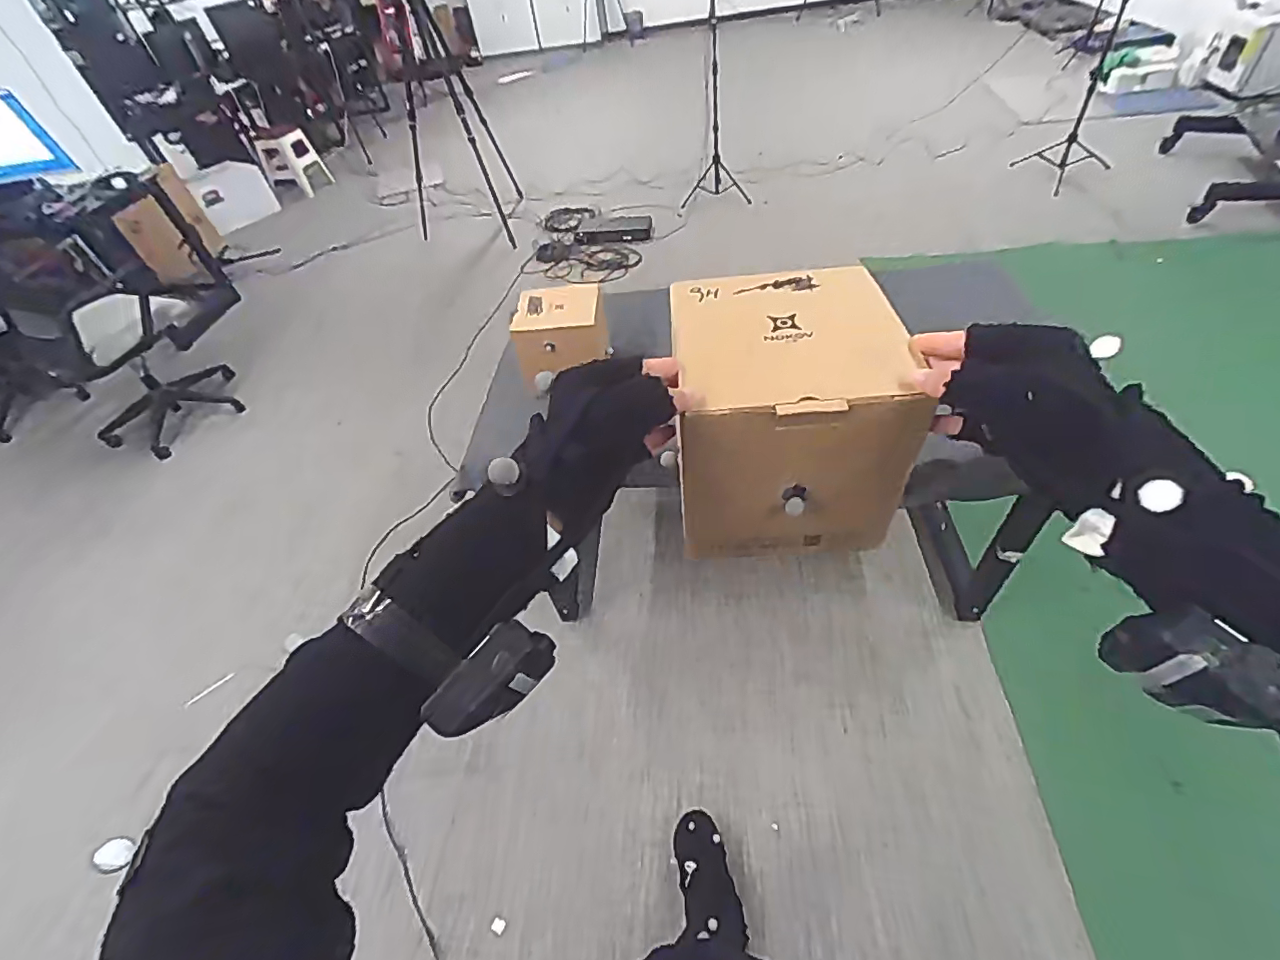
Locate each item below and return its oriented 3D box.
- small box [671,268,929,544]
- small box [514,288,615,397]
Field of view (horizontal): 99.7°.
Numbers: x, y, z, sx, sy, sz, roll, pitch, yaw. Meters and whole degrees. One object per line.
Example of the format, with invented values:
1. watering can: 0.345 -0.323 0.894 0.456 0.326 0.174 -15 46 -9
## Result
1. small box: 0.116 -0.056 0.467 0.168 0.176 0.179 -4 48 4
2. small box: -0.156 -0.298 1.185 0.179 0.176 0.168 -3 48 5
